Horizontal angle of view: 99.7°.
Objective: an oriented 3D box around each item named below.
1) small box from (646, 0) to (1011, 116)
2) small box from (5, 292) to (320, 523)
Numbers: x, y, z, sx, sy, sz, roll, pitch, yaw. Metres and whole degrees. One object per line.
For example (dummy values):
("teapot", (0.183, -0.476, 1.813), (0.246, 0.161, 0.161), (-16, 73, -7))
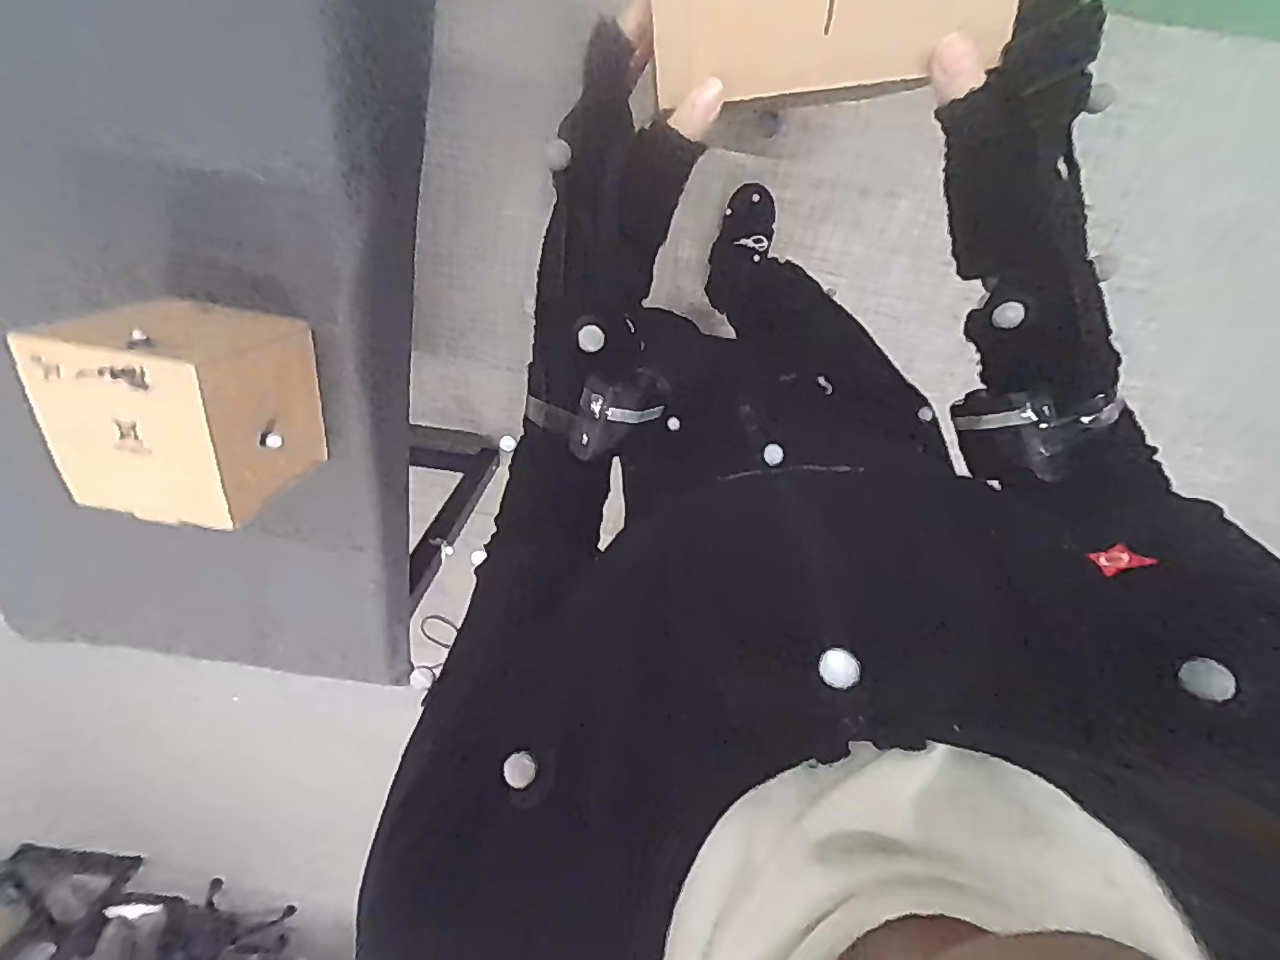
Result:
("small box", (0.085, -0.308, 0.287), (0.168, 0.176, 0.179), (-3, 122, 3))
("small box", (-0.470, -0.083, 0.573), (0.168, 0.176, 0.179), (10, 119, -1))
